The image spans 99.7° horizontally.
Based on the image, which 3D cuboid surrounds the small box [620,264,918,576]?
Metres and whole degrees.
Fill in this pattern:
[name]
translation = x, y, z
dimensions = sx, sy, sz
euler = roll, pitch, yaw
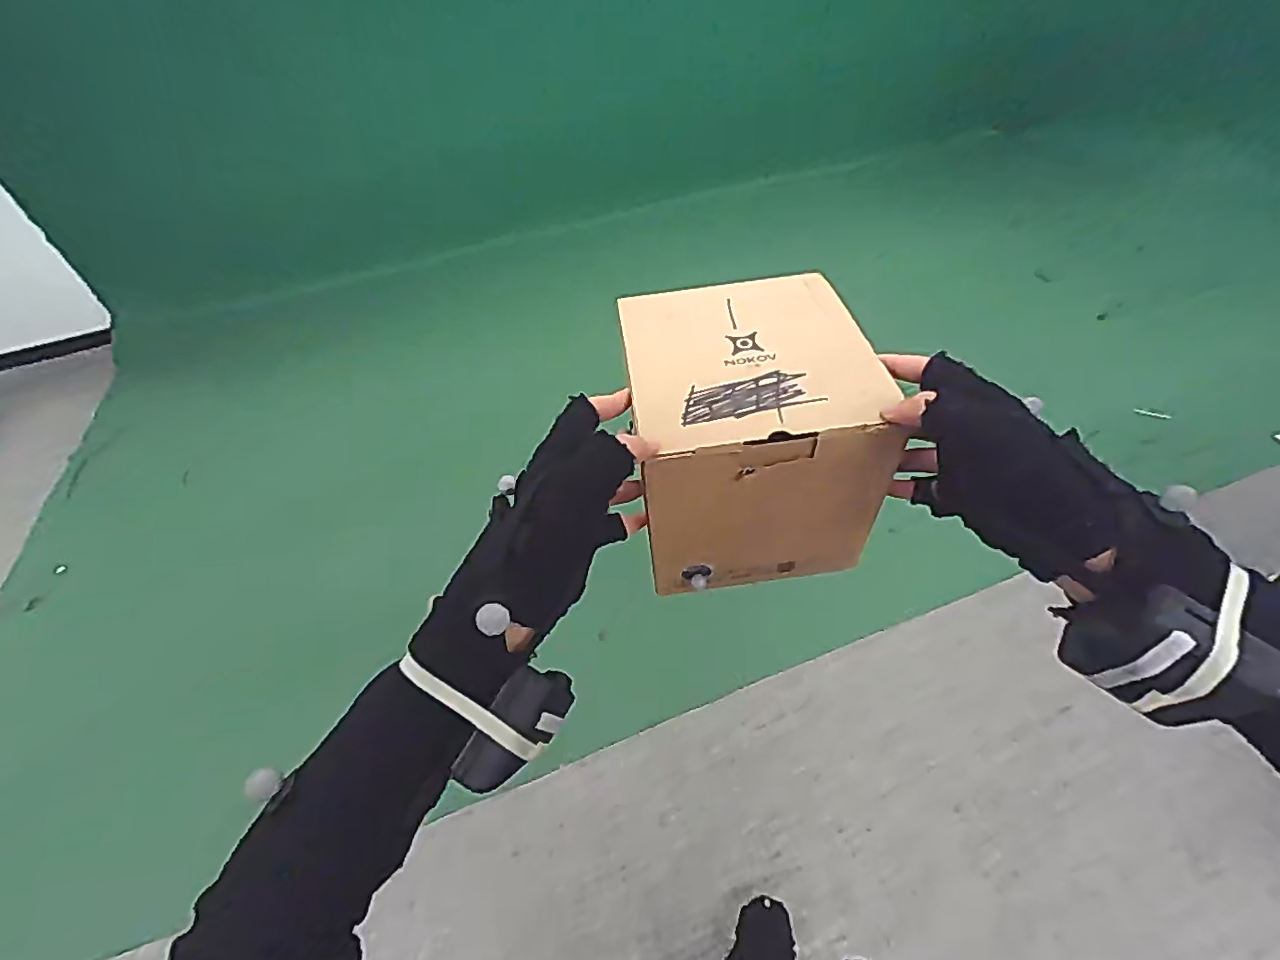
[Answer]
[small box]
translation = 0.079, -0.039, 0.423
dimensions = 0.168, 0.176, 0.179
euler = -8, 49, -1
